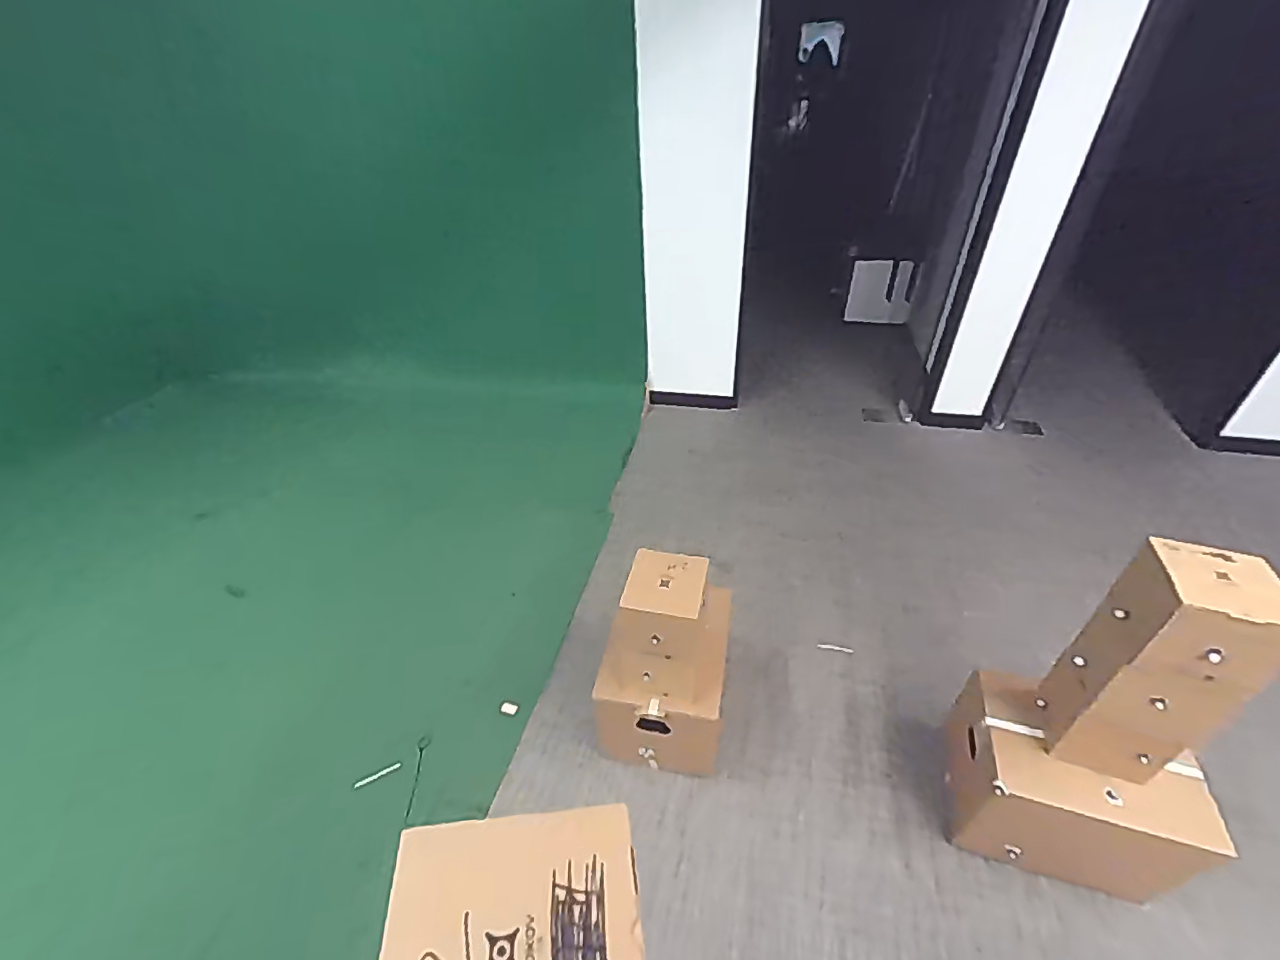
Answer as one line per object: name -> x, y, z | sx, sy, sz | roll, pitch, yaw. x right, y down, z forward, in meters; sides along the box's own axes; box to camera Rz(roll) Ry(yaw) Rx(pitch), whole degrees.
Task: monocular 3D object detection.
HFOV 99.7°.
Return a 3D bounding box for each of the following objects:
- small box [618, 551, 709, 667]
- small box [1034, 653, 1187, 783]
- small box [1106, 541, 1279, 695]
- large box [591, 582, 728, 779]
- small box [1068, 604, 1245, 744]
small box -> 0.058, 0.288, 1.205 | 0.168, 0.176, 0.179 | 8, 38, 12
small box -> 0.977, 0.504, 1.142 | 0.179, 0.176, 0.168 | 12, 38, 19
small box -> 0.968, 0.241, 0.946 | 0.168, 0.176, 0.179 | 13, 39, 18
large box -> 0.074, 0.555, 1.528 | 0.320, 0.320, 0.408 | 6, 38, 11
small box -> 0.973, 0.375, 1.041 | 0.179, 0.176, 0.168 | 13, 38, 20
